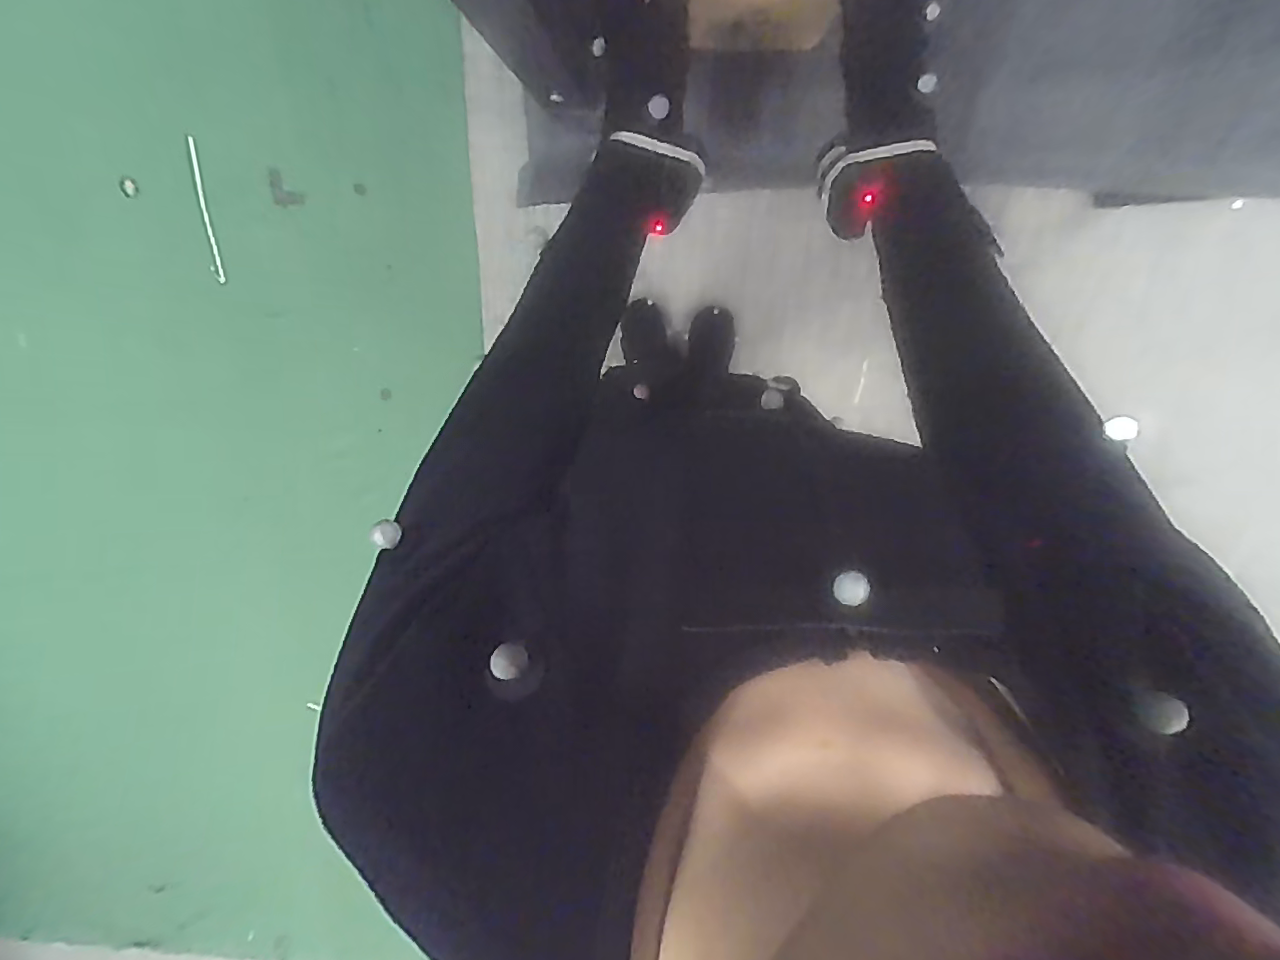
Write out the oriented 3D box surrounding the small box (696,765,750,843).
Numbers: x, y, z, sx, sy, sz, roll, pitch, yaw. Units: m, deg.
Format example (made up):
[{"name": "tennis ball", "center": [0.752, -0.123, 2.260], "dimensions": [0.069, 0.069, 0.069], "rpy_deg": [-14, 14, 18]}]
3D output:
[{"name": "small box", "center": [0.289, 1.152, 1.925], "dimensions": [0.168, 0.176, 0.179], "rpy_deg": [0, 111, 0]}]
